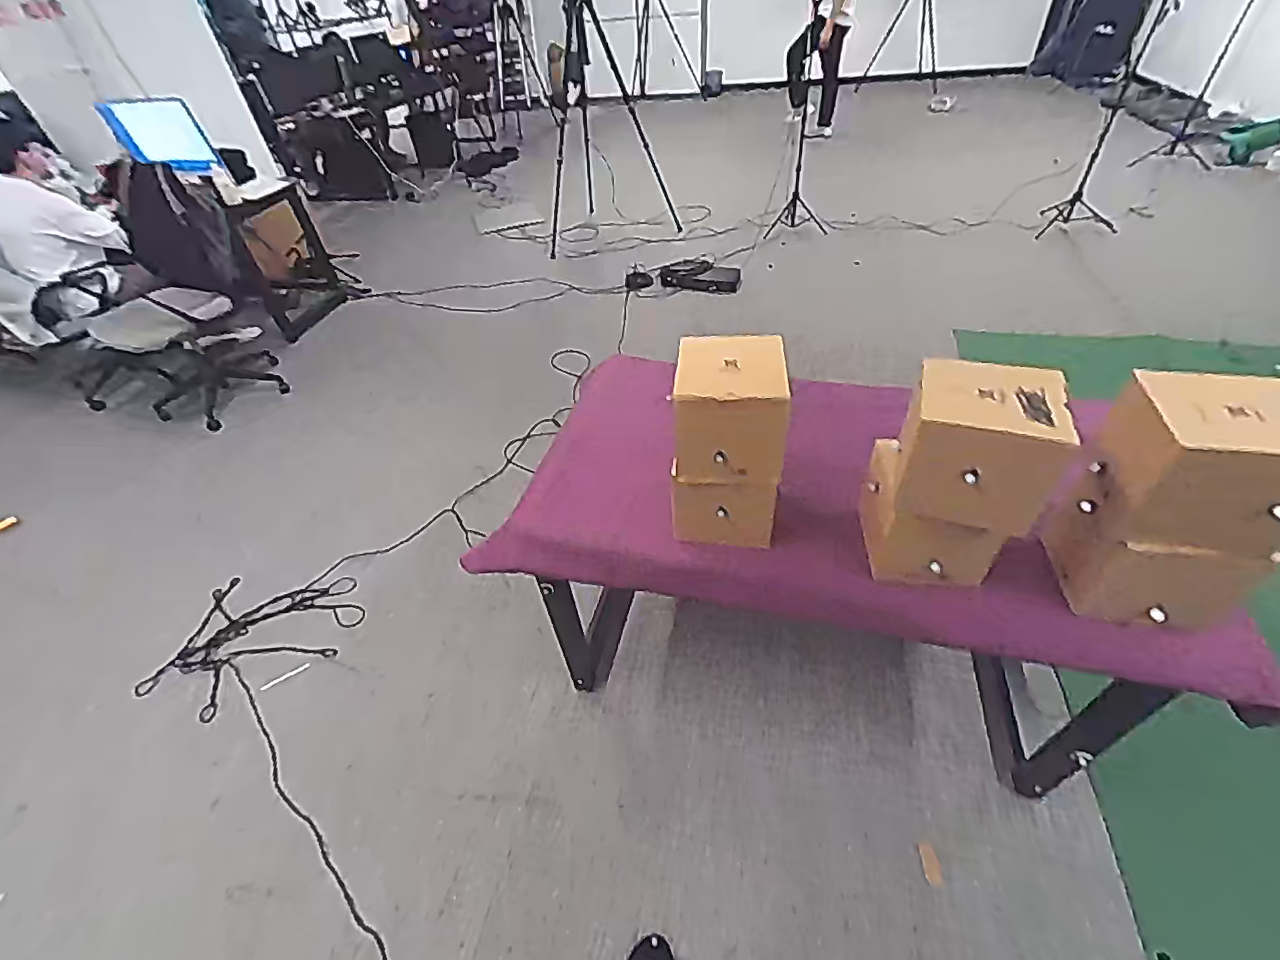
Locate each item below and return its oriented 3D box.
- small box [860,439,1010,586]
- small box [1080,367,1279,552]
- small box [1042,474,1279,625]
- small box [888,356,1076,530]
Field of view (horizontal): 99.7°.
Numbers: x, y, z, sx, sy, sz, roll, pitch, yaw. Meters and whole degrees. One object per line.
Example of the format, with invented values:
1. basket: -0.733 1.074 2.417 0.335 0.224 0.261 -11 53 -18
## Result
1. small box: 0.475 0.051 0.898 0.168 0.176 0.179 2 43 10
2. small box: 0.731 -0.026 0.706 0.179 0.176 0.168 7 45 16
3. small box: 0.755 0.099 0.810 0.179 0.176 0.168 4 44 12
4. small box: 0.469 -0.052 0.767 0.179 0.176 0.168 12 45 20
